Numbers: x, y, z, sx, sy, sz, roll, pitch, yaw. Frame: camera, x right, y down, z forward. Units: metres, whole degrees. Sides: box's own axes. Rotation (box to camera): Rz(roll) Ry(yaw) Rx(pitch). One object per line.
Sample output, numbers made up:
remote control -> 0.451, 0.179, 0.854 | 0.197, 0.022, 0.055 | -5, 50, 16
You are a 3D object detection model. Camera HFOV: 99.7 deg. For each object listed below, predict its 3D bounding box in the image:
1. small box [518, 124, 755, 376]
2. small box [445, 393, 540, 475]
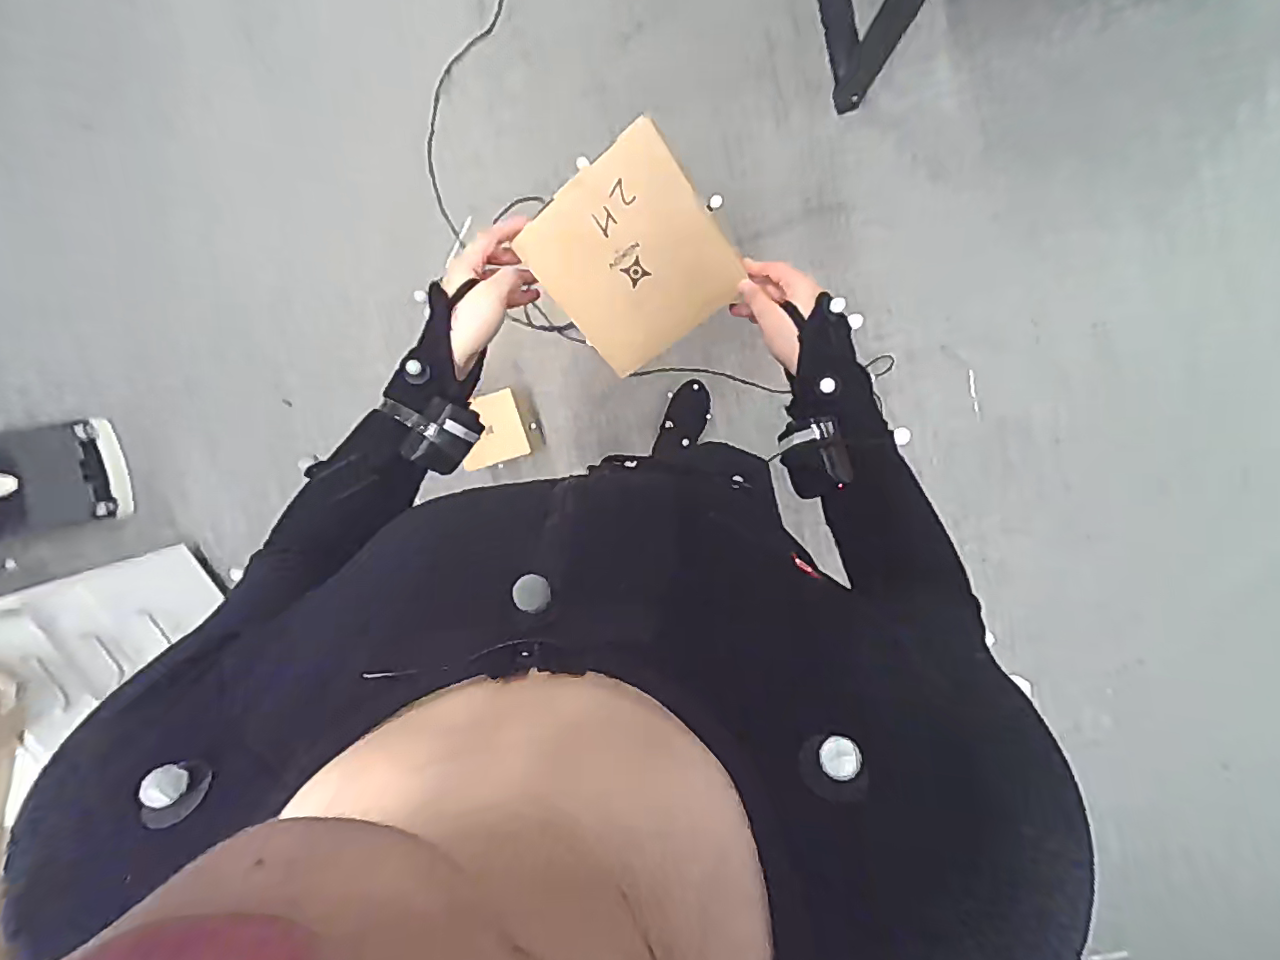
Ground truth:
small box -> 0.004, -0.251, 0.583 | 0.168, 0.176, 0.179 | -32, 116, 23
small box -> -0.368, -0.126, 1.397 | 0.179, 0.176, 0.168 | -17, 98, 5
